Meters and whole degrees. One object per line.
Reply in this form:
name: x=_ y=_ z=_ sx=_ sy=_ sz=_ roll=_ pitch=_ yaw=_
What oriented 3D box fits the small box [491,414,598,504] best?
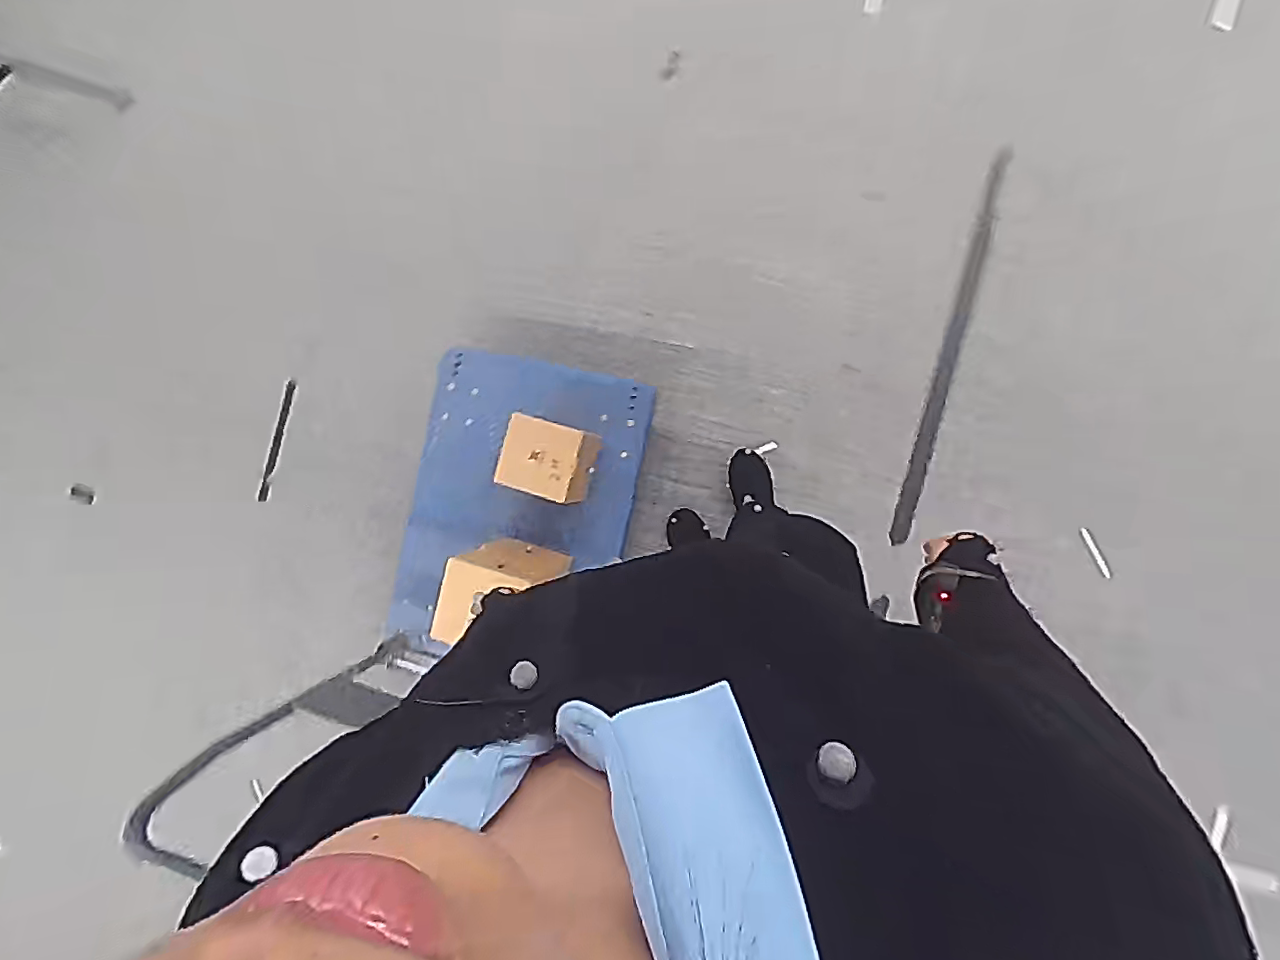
small box: x=-0.217 y=-0.046 z=1.270 sx=0.179 sy=0.176 sz=0.168 roll=16 pitch=93 yaw=9

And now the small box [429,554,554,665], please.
small box: x=-0.298 y=0.255 z=1.117 sx=0.179 sy=0.176 sz=0.168 roll=14 pitch=92 yaw=8
